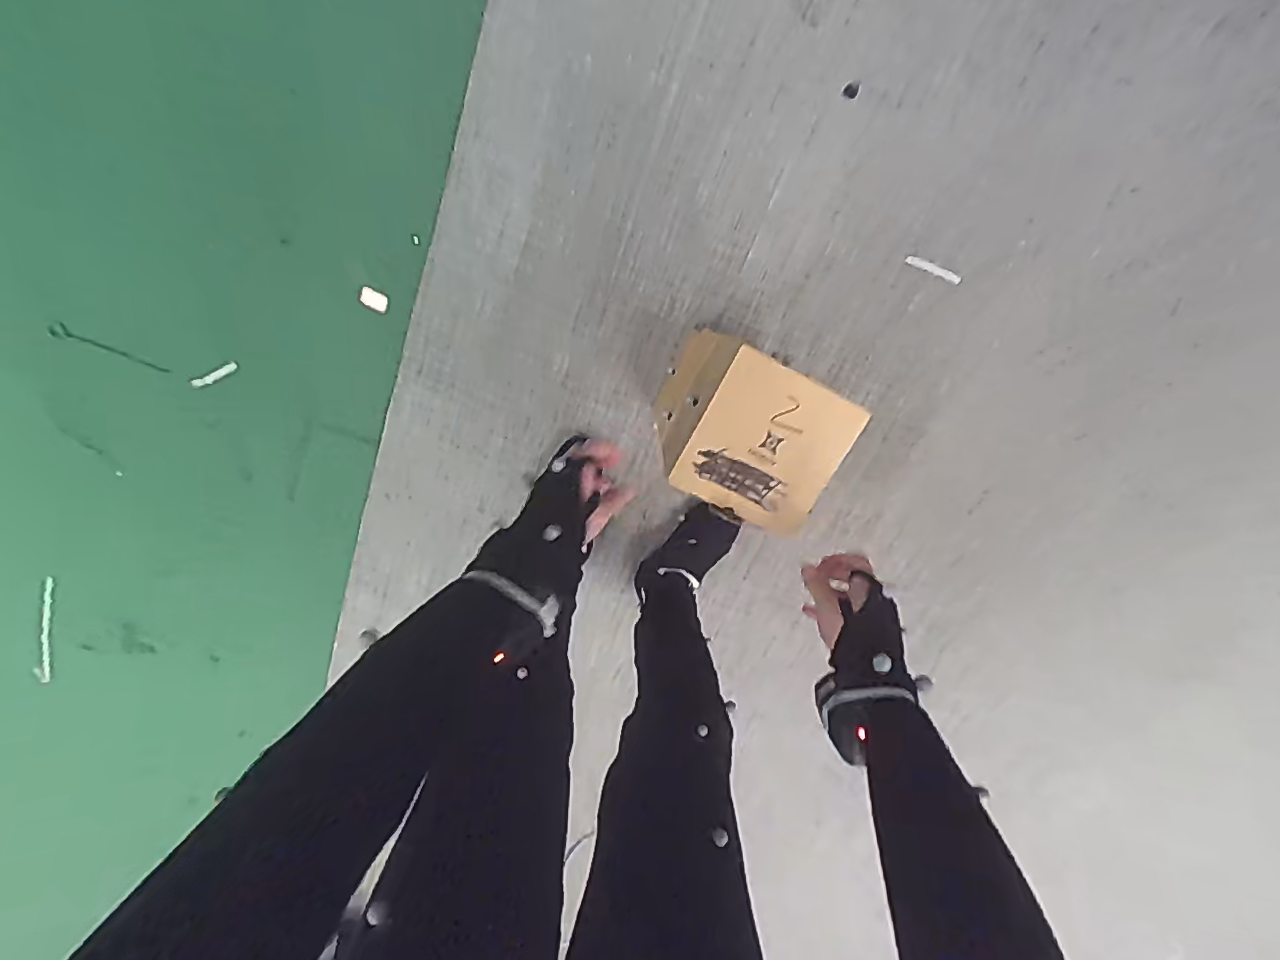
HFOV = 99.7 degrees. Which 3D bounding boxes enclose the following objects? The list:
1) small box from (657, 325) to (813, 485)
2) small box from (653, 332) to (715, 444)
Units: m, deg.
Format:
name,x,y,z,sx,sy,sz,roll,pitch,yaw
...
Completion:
name,x,y,z,sx,sy,sz,roll,pitch,yaw
small box,0.138,-0.124,0.841,0.168,0.176,0.179,-30,105,12
small box,0.136,-0.155,0.993,0.168,0.176,0.179,25,107,-7
